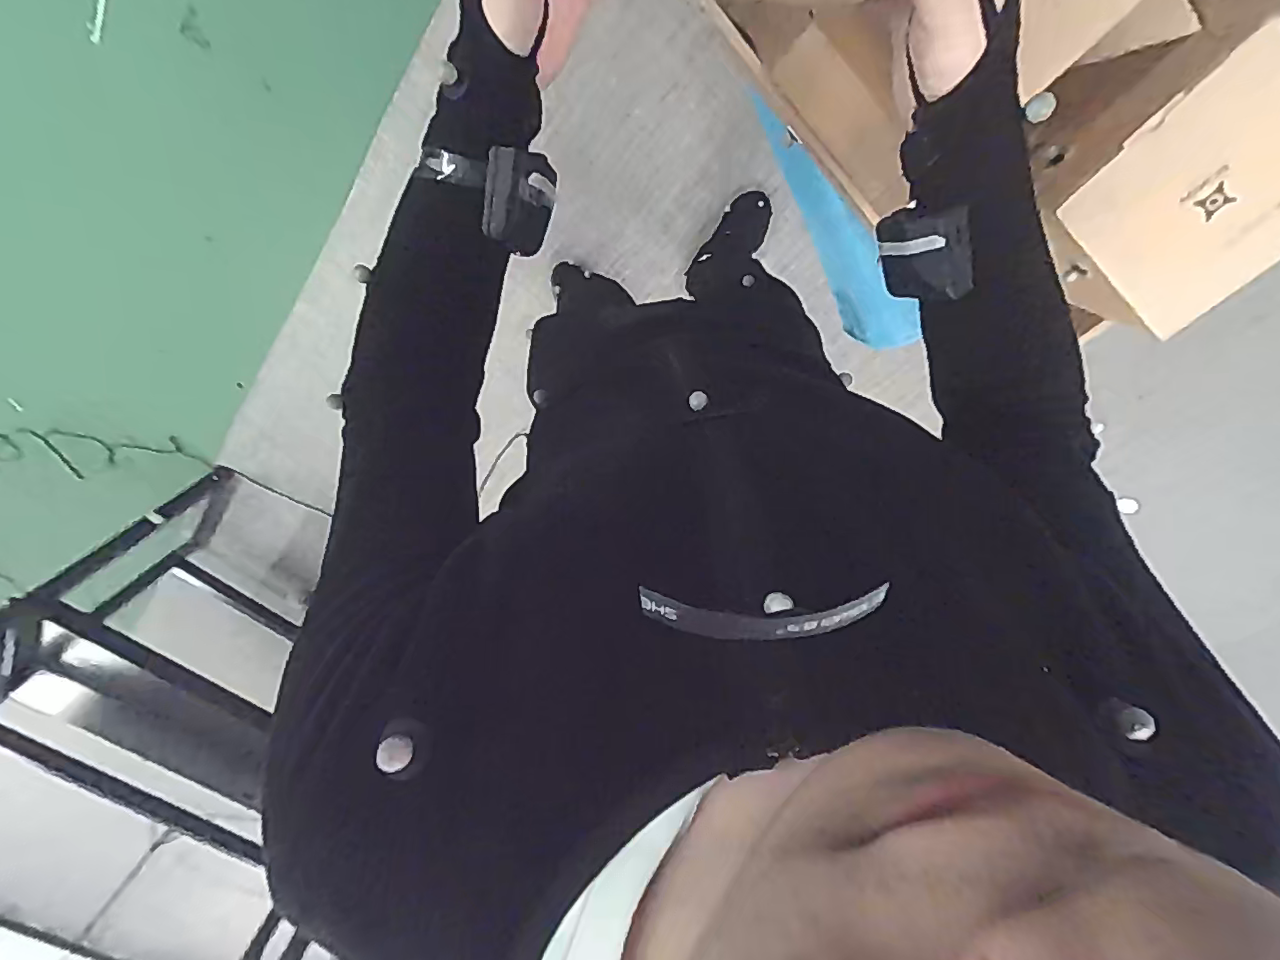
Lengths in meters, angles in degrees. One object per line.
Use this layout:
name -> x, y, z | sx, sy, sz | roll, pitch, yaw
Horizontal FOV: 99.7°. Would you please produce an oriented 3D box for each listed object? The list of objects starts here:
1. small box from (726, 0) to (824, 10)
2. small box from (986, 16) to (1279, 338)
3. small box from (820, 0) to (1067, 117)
small box -> 0.045, -0.360, 0.274 | 0.179, 0.176, 0.168 | 10, 129, 2
small box -> 0.474, -0.269, 0.508 | 0.179, 0.176, 0.168 | 37, 120, -13
small box -> 0.317, -0.520, 0.575 | 0.179, 0.176, 0.168 | 40, 119, -17
